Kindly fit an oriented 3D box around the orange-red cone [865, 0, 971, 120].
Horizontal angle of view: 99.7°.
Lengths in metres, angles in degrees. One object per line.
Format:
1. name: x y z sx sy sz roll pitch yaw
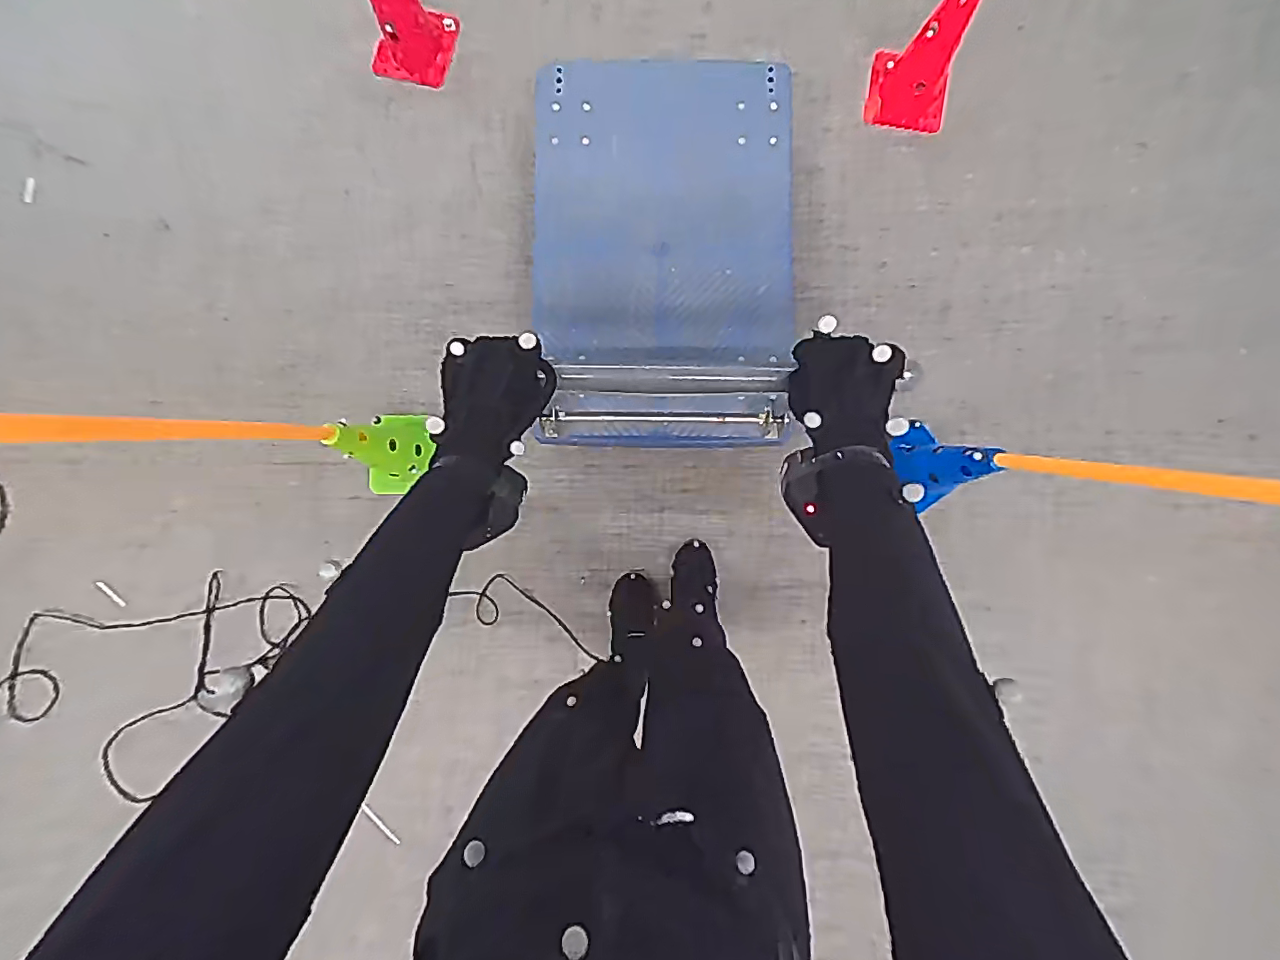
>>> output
1. orange-red cone: 0.676 -1.024 1.201 0.198 0.360 0.199 12 89 3
